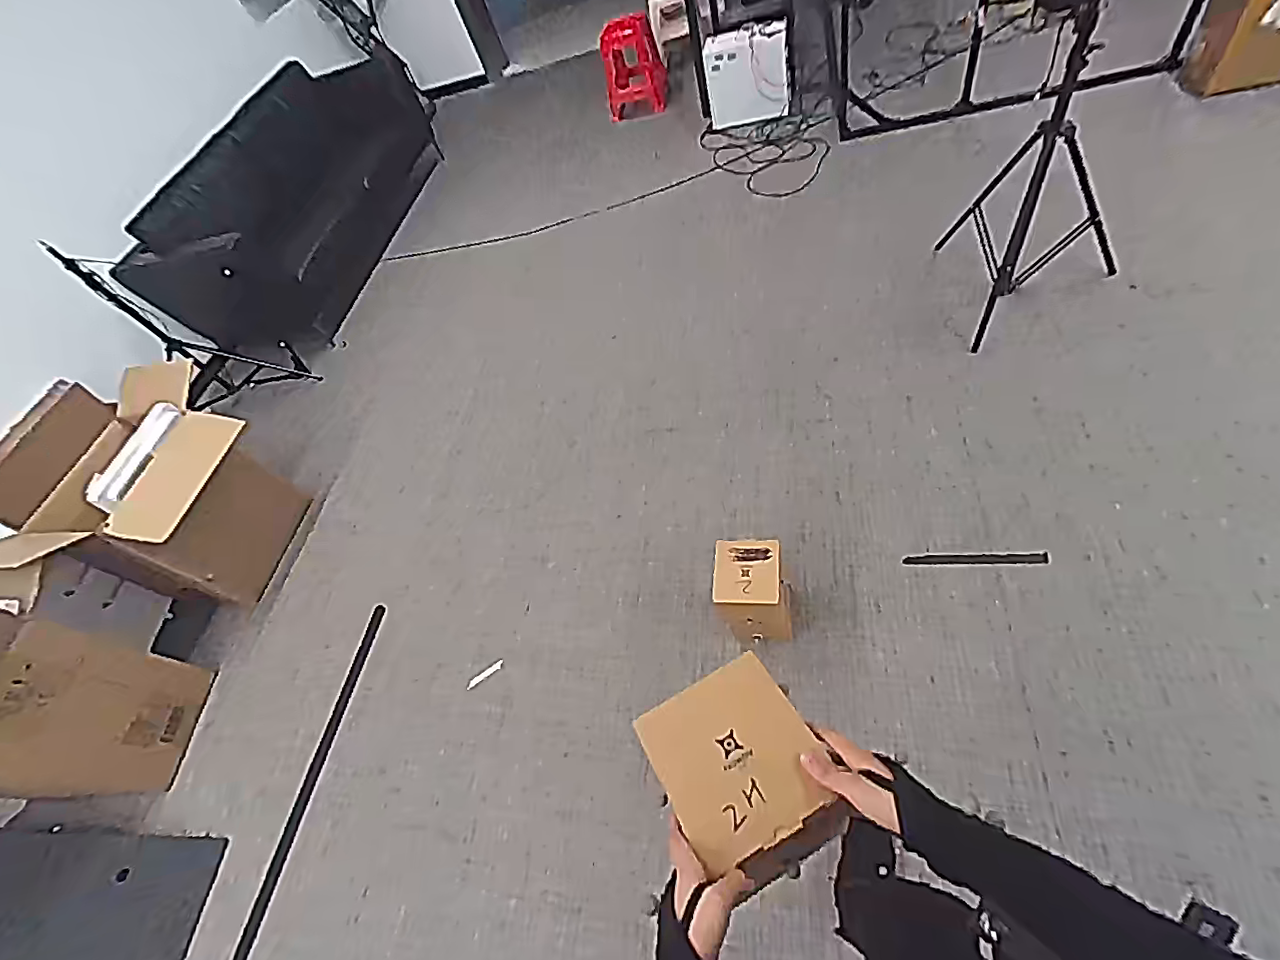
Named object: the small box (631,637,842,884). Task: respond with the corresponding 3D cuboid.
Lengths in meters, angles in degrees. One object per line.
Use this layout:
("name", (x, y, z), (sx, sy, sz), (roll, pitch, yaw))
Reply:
("small box", (0.110, 0.327, 0.633), (0.168, 0.176, 0.179), (-28, 45, -10))

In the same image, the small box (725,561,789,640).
("small box", (0.342, 0.350, 1.569), (0.168, 0.176, 0.179), (-5, 55, 17))
